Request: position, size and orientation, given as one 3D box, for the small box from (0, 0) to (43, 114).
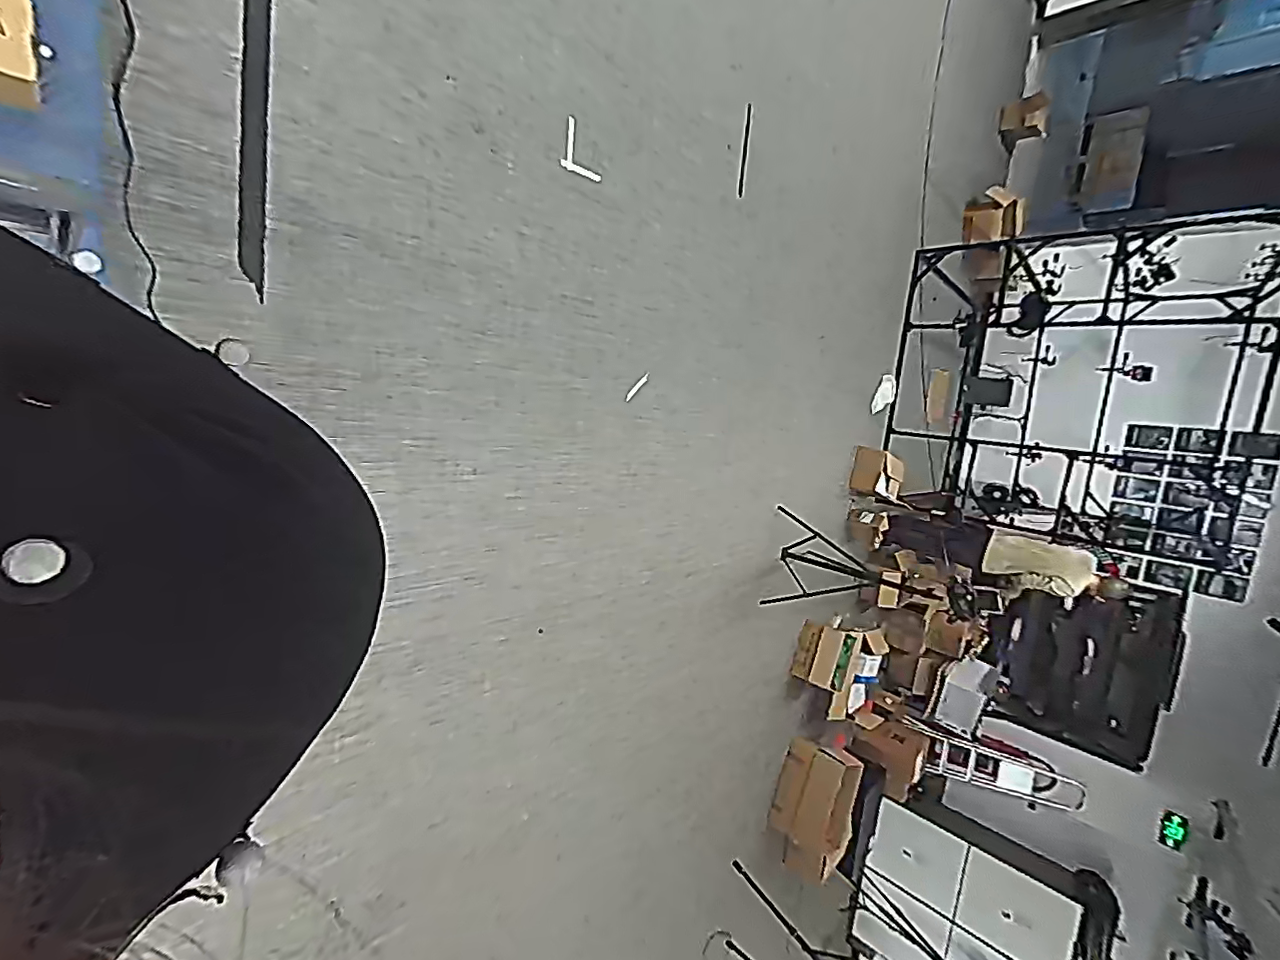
[{"bbox_3d":[-0.937,-0.628,0.723,0.179,0.176,0.168,-5,104,-47],"label":"small box"}]
